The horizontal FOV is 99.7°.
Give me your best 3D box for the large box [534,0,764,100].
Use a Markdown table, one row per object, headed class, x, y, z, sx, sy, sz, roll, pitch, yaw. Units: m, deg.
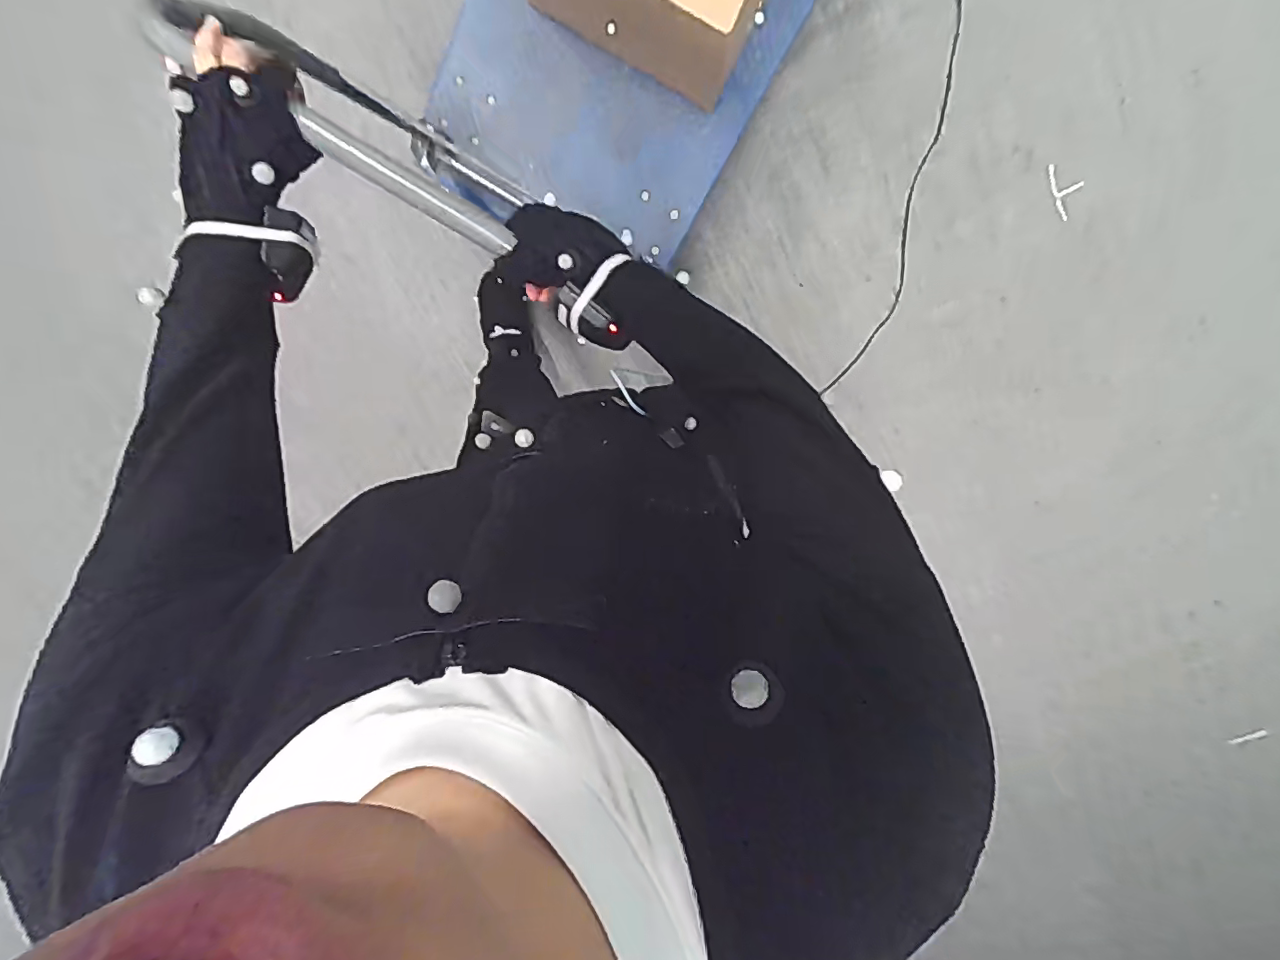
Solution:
| class | x | y | z | sx | sy | sz | roll | pitch | yaw |
| --- | --- | --- | --- | --- | --- | --- | --- | --- | --- |
| large box | 0.030 | -0.906 | 0.860 | 0.408 | 0.320 | 0.320 | 27 | 106 | -4 |
